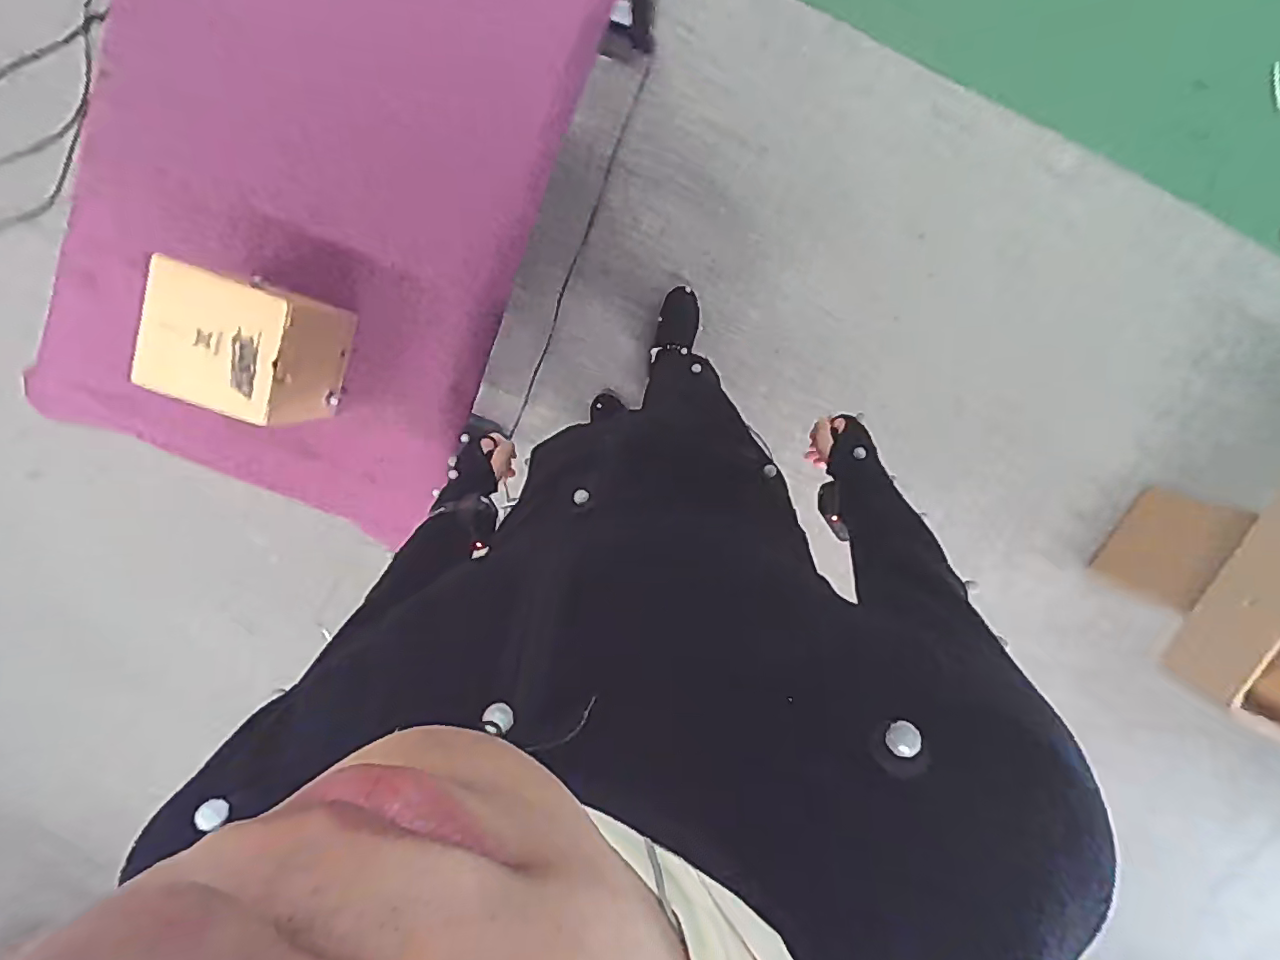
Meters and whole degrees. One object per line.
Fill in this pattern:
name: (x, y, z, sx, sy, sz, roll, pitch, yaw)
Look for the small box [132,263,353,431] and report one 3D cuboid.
small box: (-0.540, -0.181, 0.759, 0.179, 0.176, 0.168, 19, 100, -3)
